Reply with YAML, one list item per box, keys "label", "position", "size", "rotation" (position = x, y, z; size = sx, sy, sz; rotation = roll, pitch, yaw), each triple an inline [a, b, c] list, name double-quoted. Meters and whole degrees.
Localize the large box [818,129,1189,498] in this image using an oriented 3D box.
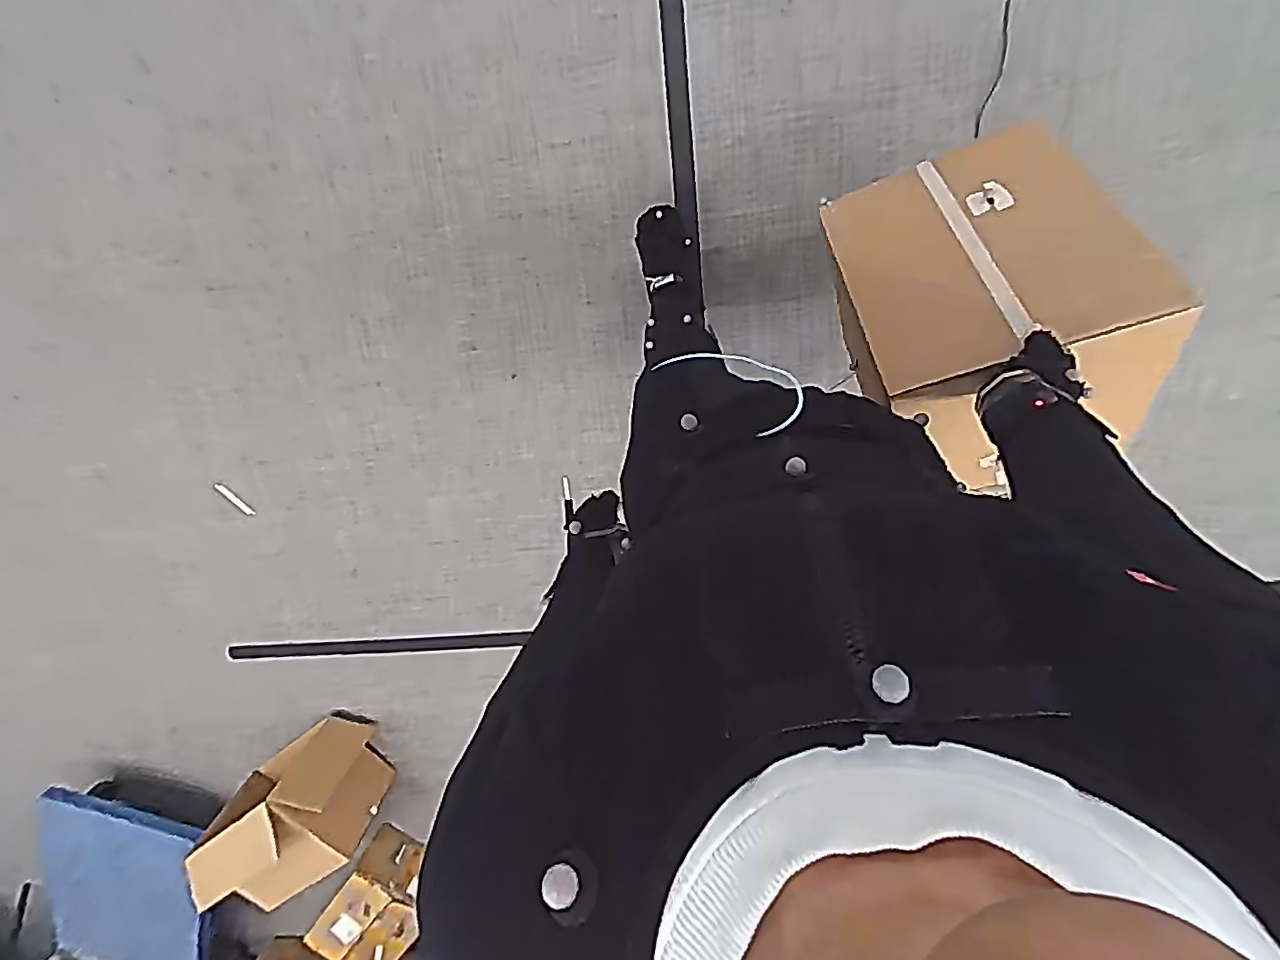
- label: "large box"
  position: [0.503, -0.241, 0.847]
  size: [0.320, 0.408, 0.320]
  rotation: [-15, 145, 18]
